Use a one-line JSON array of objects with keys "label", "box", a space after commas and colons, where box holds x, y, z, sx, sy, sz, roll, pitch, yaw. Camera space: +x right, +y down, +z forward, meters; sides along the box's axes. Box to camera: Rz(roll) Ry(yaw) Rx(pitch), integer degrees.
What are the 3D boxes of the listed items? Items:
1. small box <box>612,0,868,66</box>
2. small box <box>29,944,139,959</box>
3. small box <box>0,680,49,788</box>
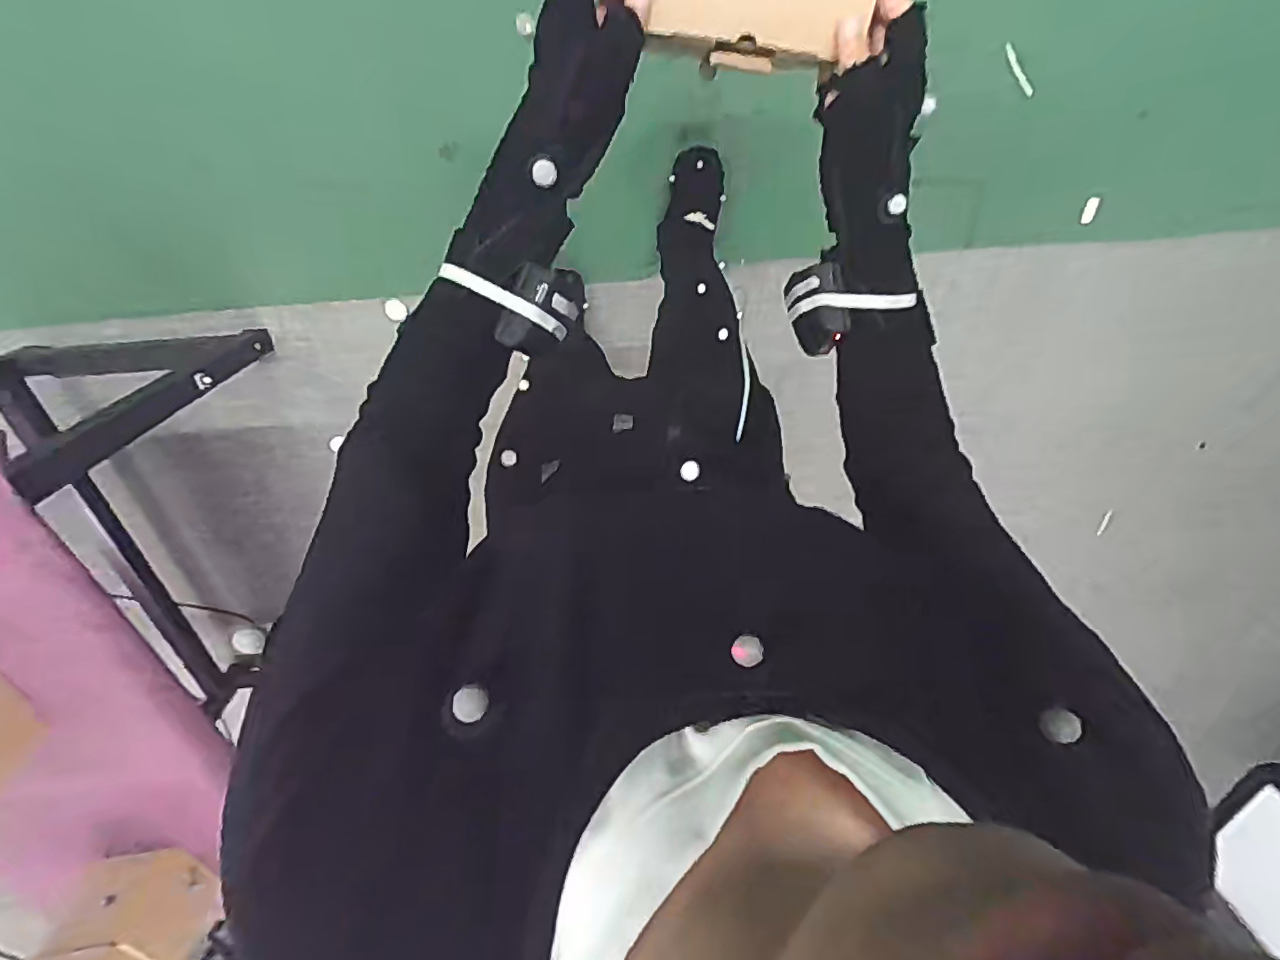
[{"label": "small box", "box": [0.070, -0.415, 0.383, 0.168, 0.176, 0.179, 2, 126, -7]}, {"label": "small box", "box": [-1.021, 0.968, 0.964, 0.168, 0.176, 0.179, -11, 121, 3]}, {"label": "small box", "box": [-1.067, 0.398, 0.799, 0.168, 0.176, 0.179, 3, 121, -3]}]
